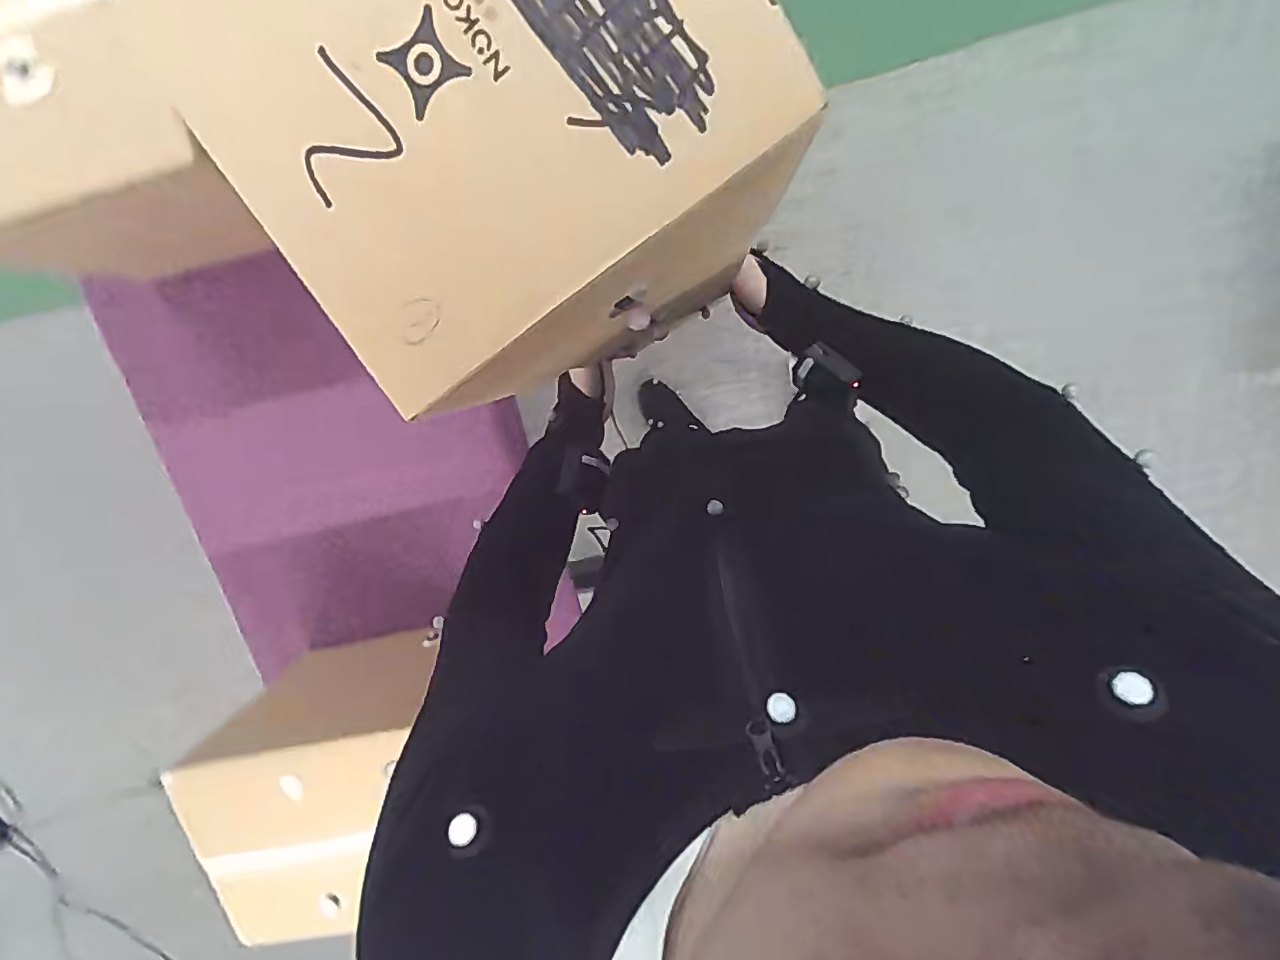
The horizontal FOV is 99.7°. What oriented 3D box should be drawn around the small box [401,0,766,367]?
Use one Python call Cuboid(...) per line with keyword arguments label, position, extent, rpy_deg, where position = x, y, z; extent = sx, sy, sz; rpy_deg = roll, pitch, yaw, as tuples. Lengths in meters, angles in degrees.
Cuboid(label="small box", position=(-0.027, -0.197, 0.399), extent=(0.168, 0.176, 0.179), rpy_deg=(-27, 99, 13))
